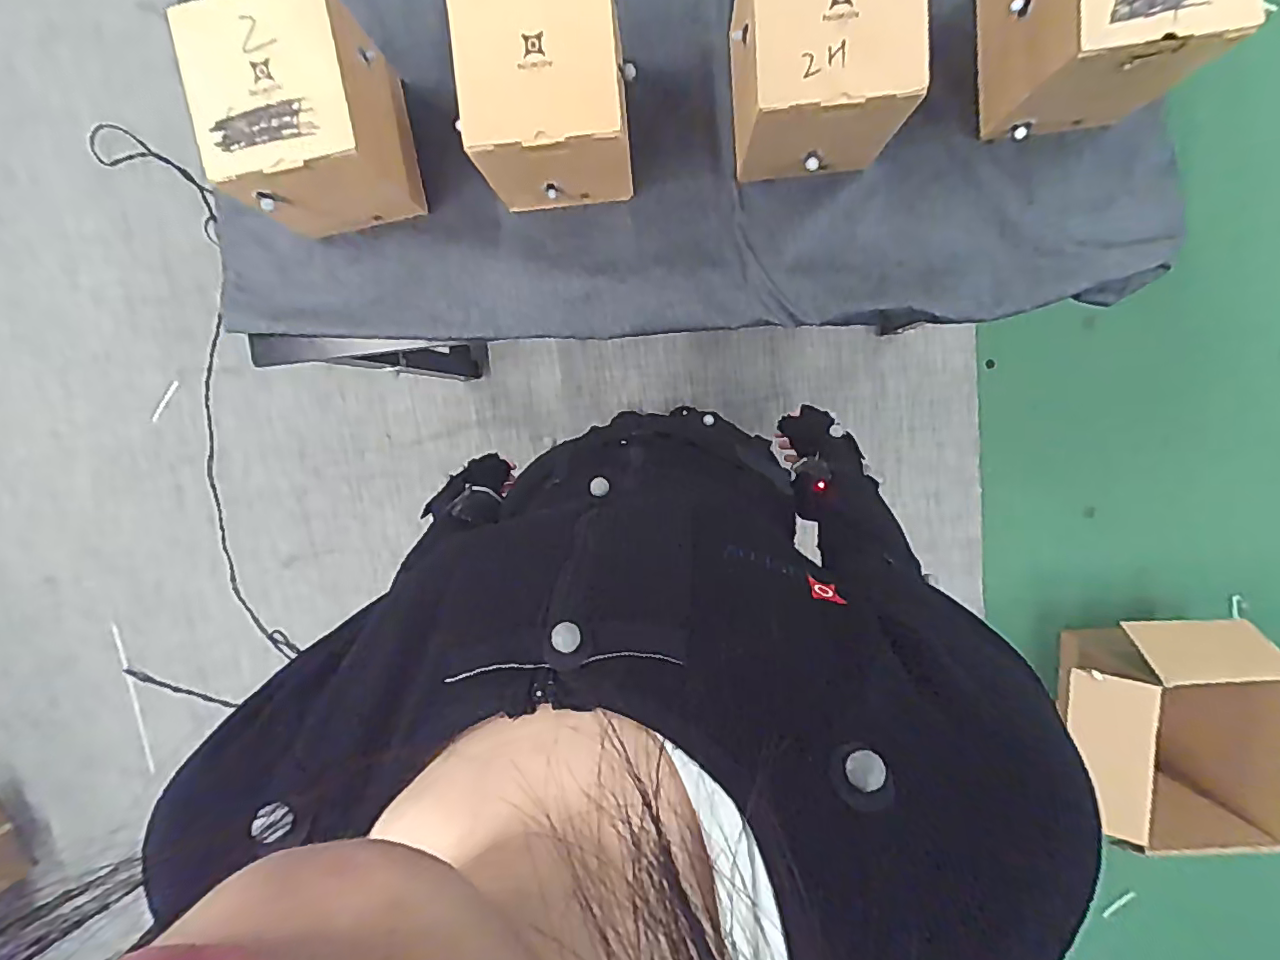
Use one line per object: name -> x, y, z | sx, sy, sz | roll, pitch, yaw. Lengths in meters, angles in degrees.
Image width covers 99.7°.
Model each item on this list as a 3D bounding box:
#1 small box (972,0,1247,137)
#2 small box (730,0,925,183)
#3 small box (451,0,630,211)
small box -> 0.491, -0.505, 0.590 | 0.168, 0.176, 0.179 | -5, 96, 2
small box -> 0.196, -0.463, 0.605 | 0.168, 0.176, 0.179 | -4, 97, 3
small box -> -0.101, -0.435, 0.619 | 0.168, 0.176, 0.179 | -5, 98, 2
